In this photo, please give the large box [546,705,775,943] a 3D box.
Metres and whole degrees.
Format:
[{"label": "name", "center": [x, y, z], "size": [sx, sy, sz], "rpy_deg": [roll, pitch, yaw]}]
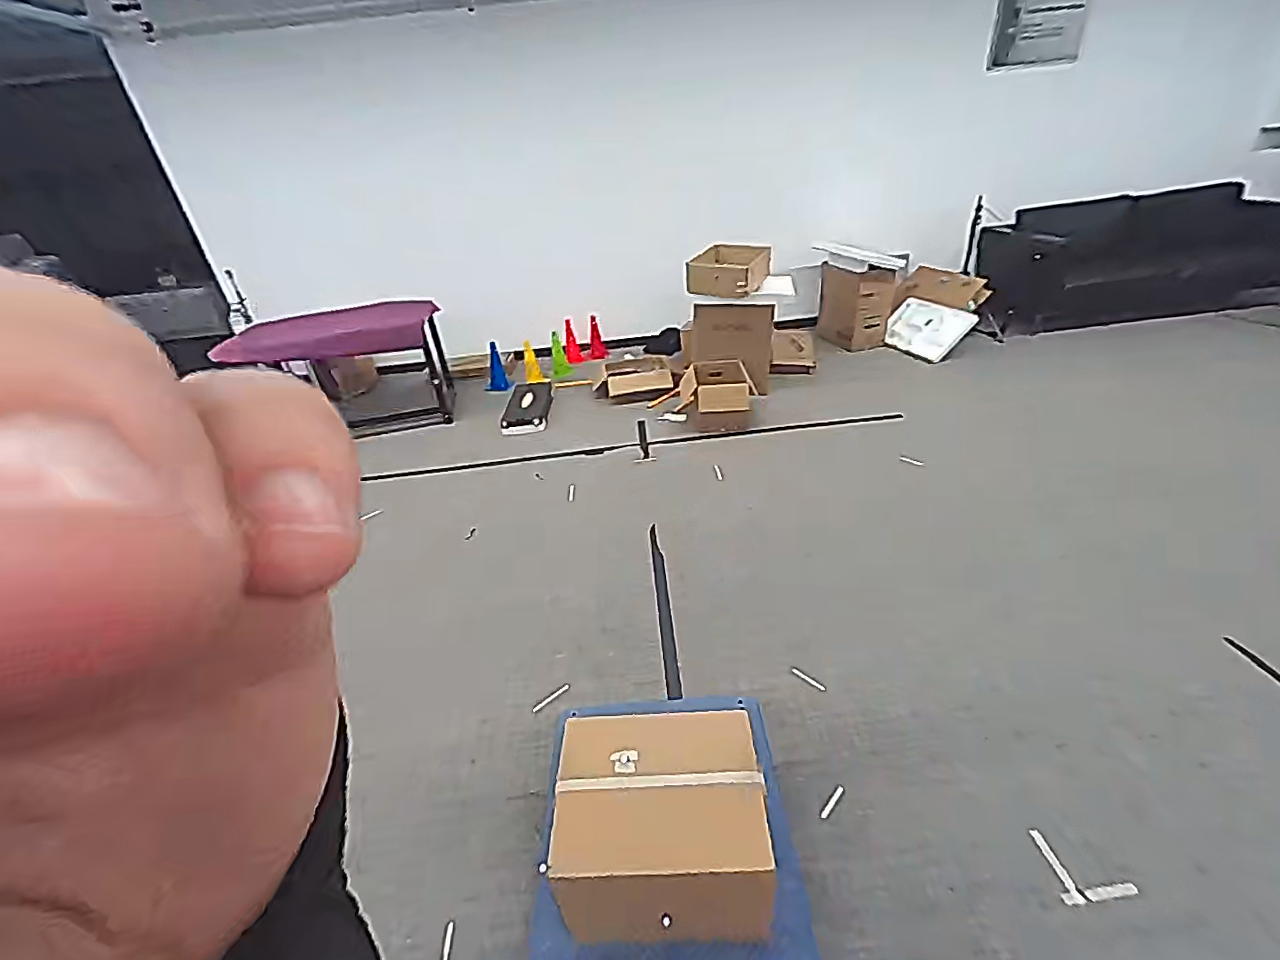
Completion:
[{"label": "large box", "center": [0.049, 0.717, 1.135], "size": [0.408, 0.320, 0.320], "rpy_deg": [-6, 31, 3]}]
